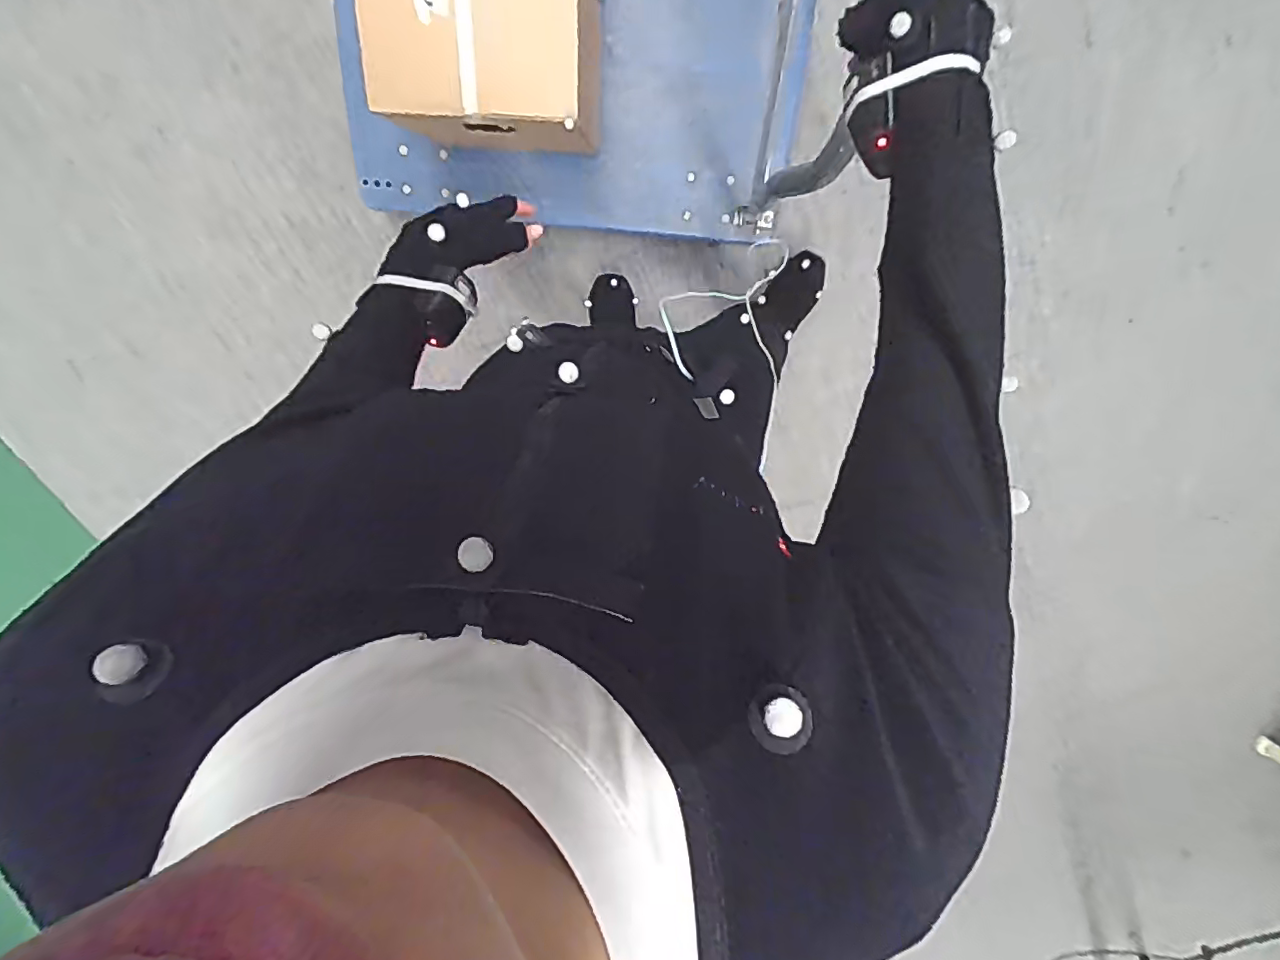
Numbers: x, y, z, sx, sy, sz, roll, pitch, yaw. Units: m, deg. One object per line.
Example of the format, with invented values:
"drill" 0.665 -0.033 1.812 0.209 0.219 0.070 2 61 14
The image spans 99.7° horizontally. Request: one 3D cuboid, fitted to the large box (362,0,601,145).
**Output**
"large box" -0.226 -0.790 0.853 0.320 0.320 0.408 4 115 2
